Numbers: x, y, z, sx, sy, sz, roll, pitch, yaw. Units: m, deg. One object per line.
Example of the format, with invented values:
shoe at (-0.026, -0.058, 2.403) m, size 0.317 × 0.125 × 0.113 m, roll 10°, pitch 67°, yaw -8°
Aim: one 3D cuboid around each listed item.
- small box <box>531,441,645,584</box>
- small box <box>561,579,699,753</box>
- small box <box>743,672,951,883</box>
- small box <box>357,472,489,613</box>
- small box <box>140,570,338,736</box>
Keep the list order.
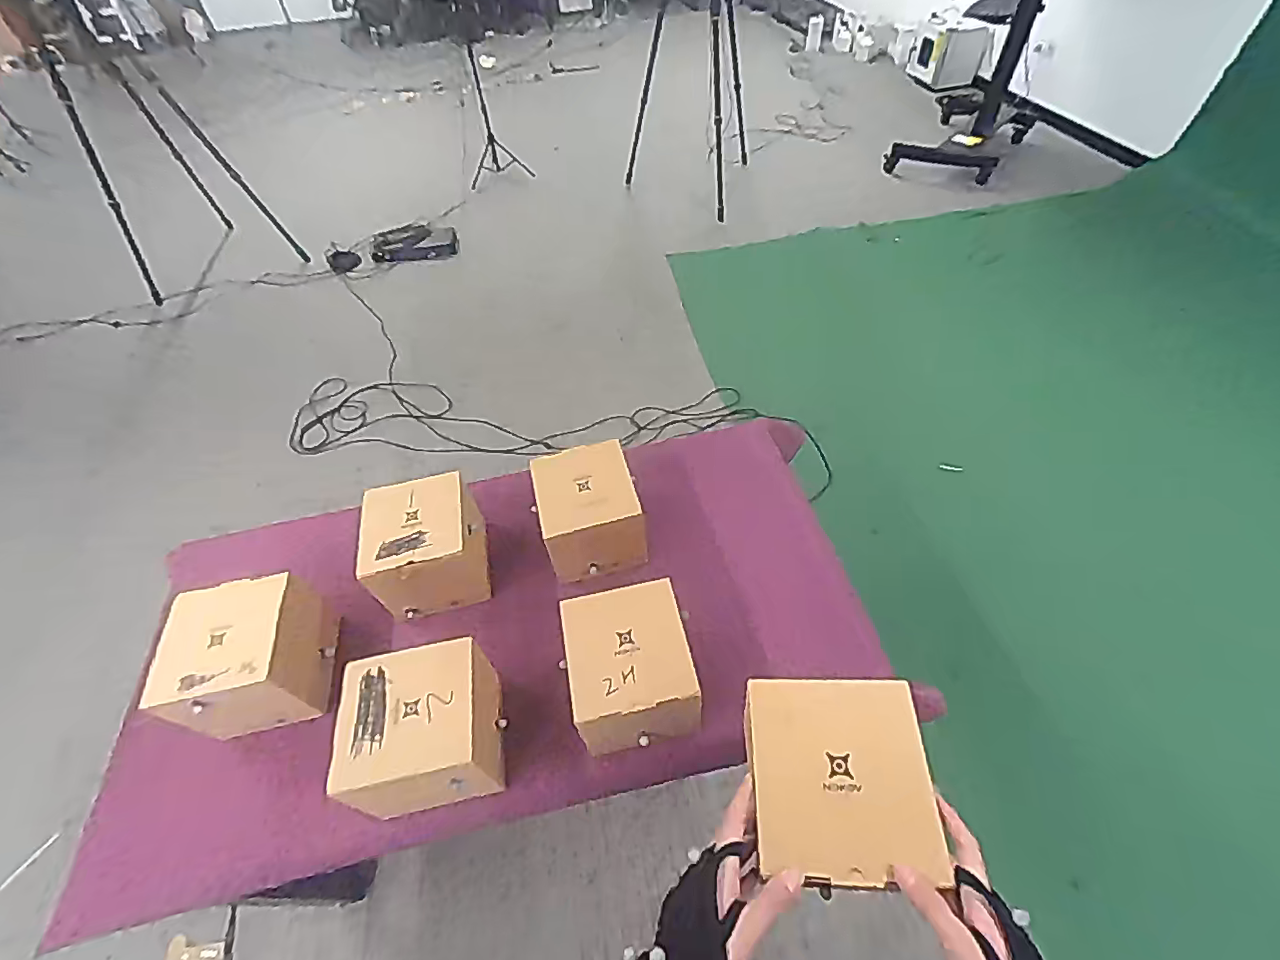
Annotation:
small box at (-0.092, 0.060, 0.978) m, size 0.168 × 0.176 × 0.179 m, roll -14°, pitch 53°, yaw -6°
small box at (-0.016, 0.275, 0.796) m, size 0.168 × 0.176 × 0.179 m, roll -11°, pitch 51°, yaw -4°
small box at (0.201, 0.323, 0.587) m, size 0.168 × 0.176 × 0.179 m, roll -2°, pitch 54°, yaw 8°
small box at (-0.370, 0.117, 0.949) m, size 0.168 × 0.176 × 0.179 m, roll -12°, pitch 51°, yaw -6°
small box at (-0.598, 0.269, 0.839) m, size 0.168 × 0.176 × 0.179 m, roll -12°, pitch 51°, yaw -4°
